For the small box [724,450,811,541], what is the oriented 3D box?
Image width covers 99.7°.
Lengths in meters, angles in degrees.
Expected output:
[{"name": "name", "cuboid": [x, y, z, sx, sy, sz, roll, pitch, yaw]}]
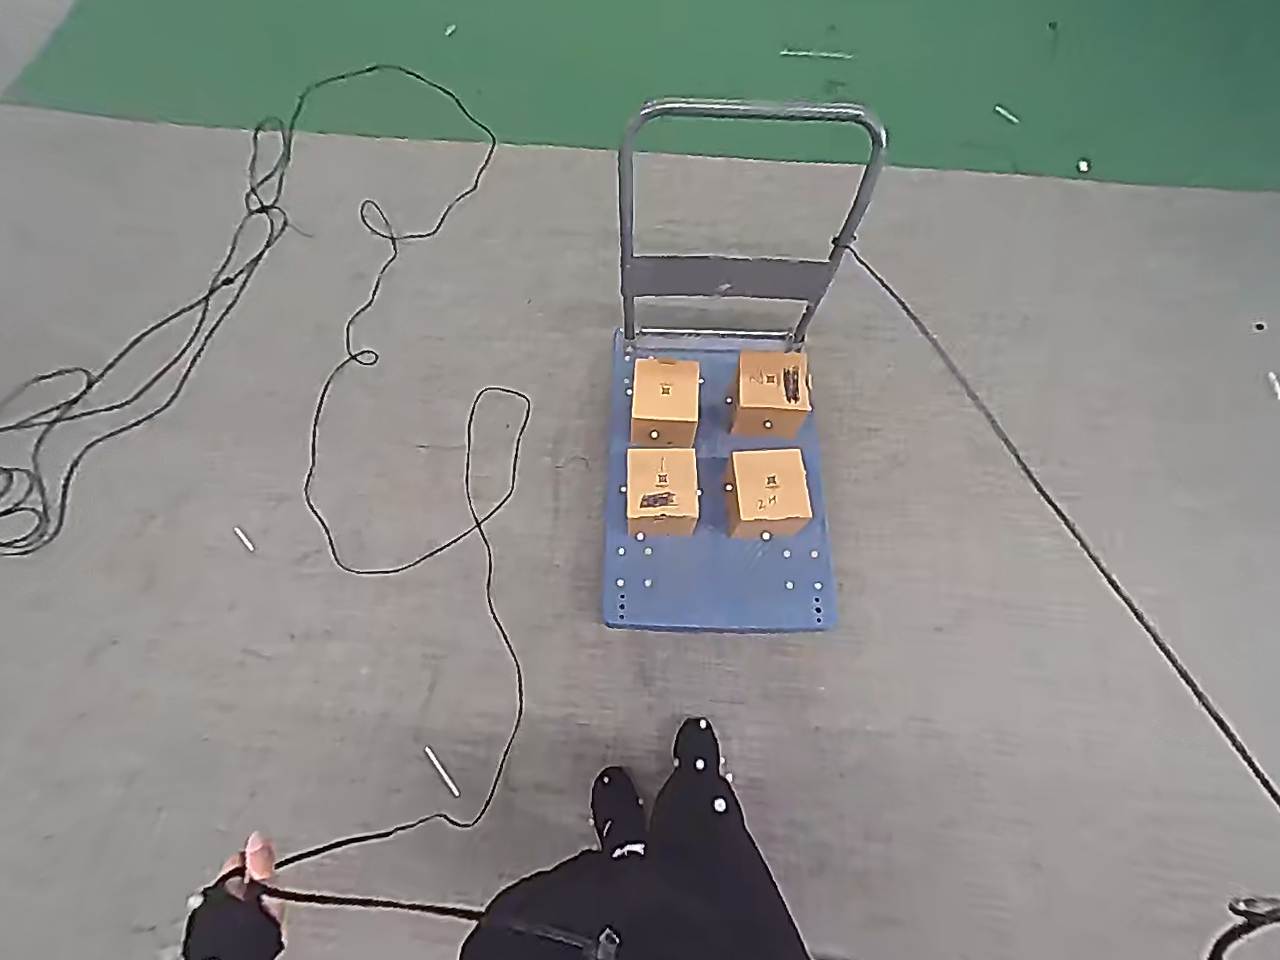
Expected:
[{"name": "small box", "cuboid": [0.305, 0.042, 1.331, 0.168, 0.176, 0.179, -3, 68, -1]}]

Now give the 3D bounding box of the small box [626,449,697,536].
[{"name": "small box", "cuboid": [0.050, 0.037, 1.332, 0.168, 0.176, 0.179, 0, 68, -1]}]

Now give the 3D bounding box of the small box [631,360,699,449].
[{"name": "small box", "cuboid": [0.064, -0.193, 1.424, 0.168, 0.176, 0.179, 3, 68, 0]}]
